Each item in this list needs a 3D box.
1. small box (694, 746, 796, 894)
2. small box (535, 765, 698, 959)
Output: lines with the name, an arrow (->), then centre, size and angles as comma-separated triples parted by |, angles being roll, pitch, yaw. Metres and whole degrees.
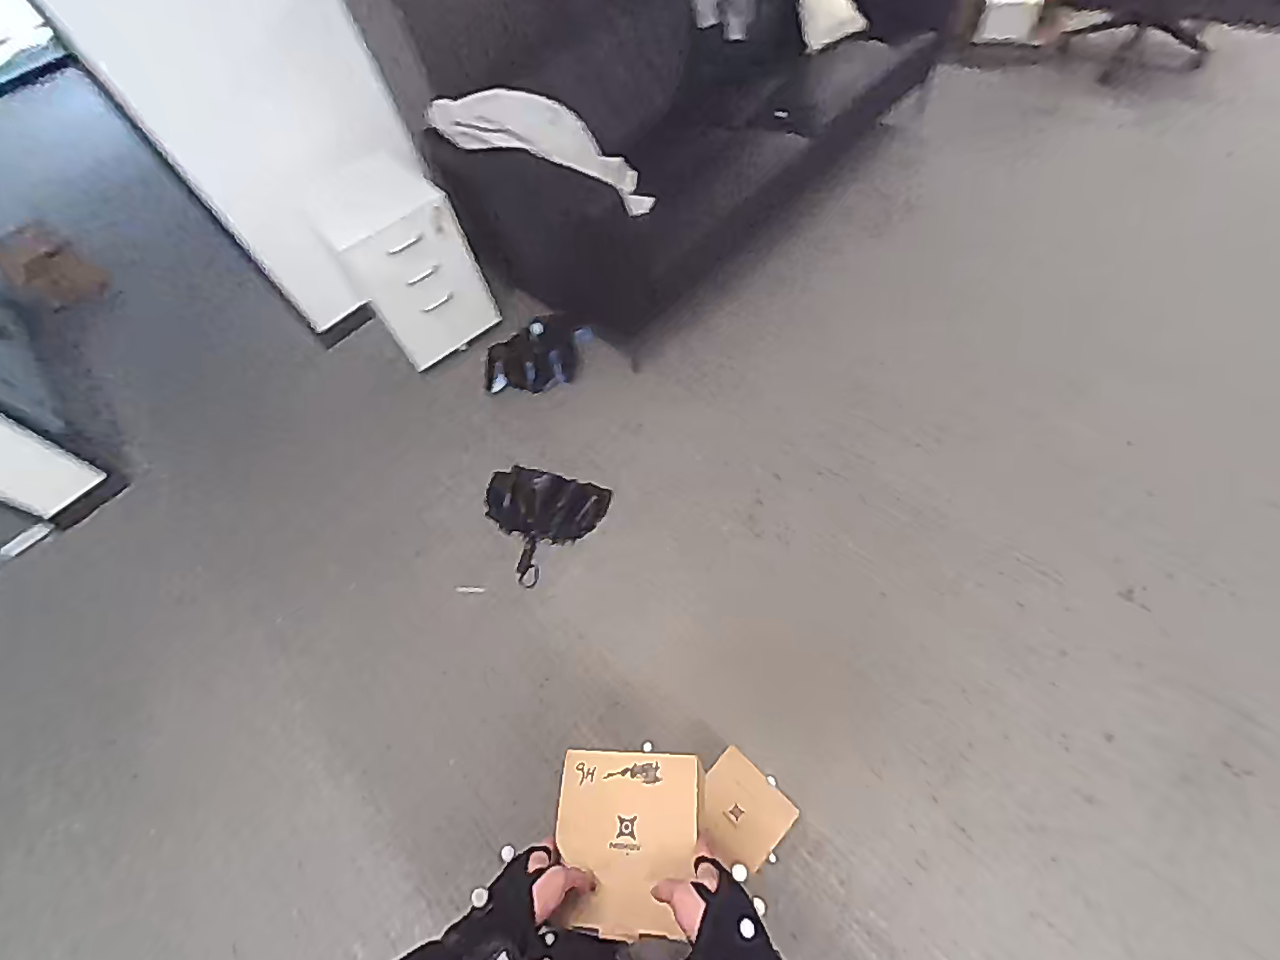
small box -> 0.181, 0.658, 1.059 | 0.179, 0.176, 0.168 | -43, 62, -17
small box -> -0.015, 0.458, 0.665 | 0.168, 0.176, 0.179 | -2, 58, 8
